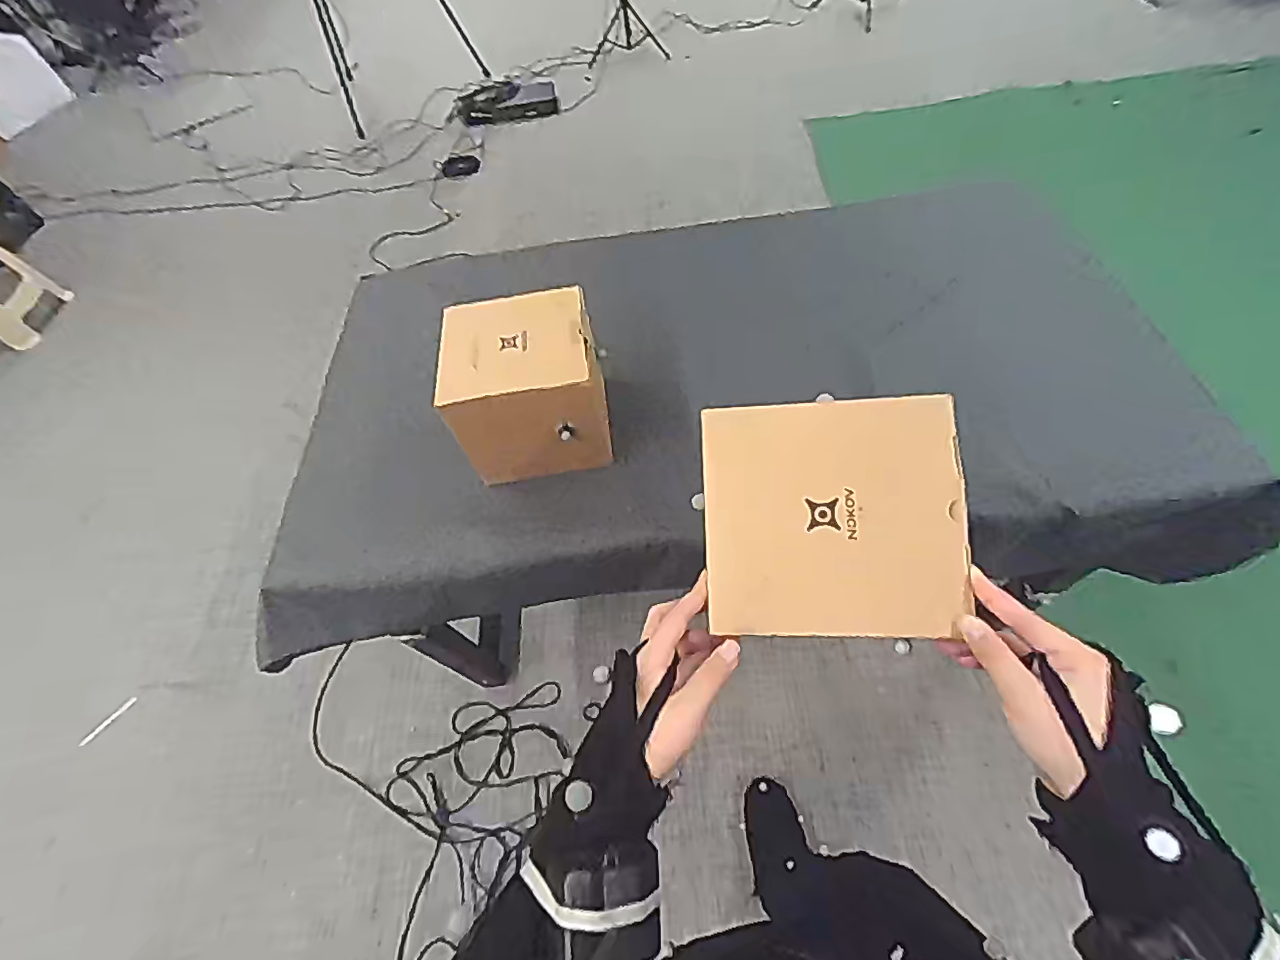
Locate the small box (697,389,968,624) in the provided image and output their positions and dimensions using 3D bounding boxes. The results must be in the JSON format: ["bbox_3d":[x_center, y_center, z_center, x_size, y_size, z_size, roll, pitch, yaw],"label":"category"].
[{"bbox_3d":[0.144,0.034,0.461,0.179,0.176,0.168,-3,79,9],"label":"small box"}]

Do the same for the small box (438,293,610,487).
[{"bbox_3d":[-0.137,-0.110,0.702,0.179,0.176,0.168,-10,56,2],"label":"small box"}]
